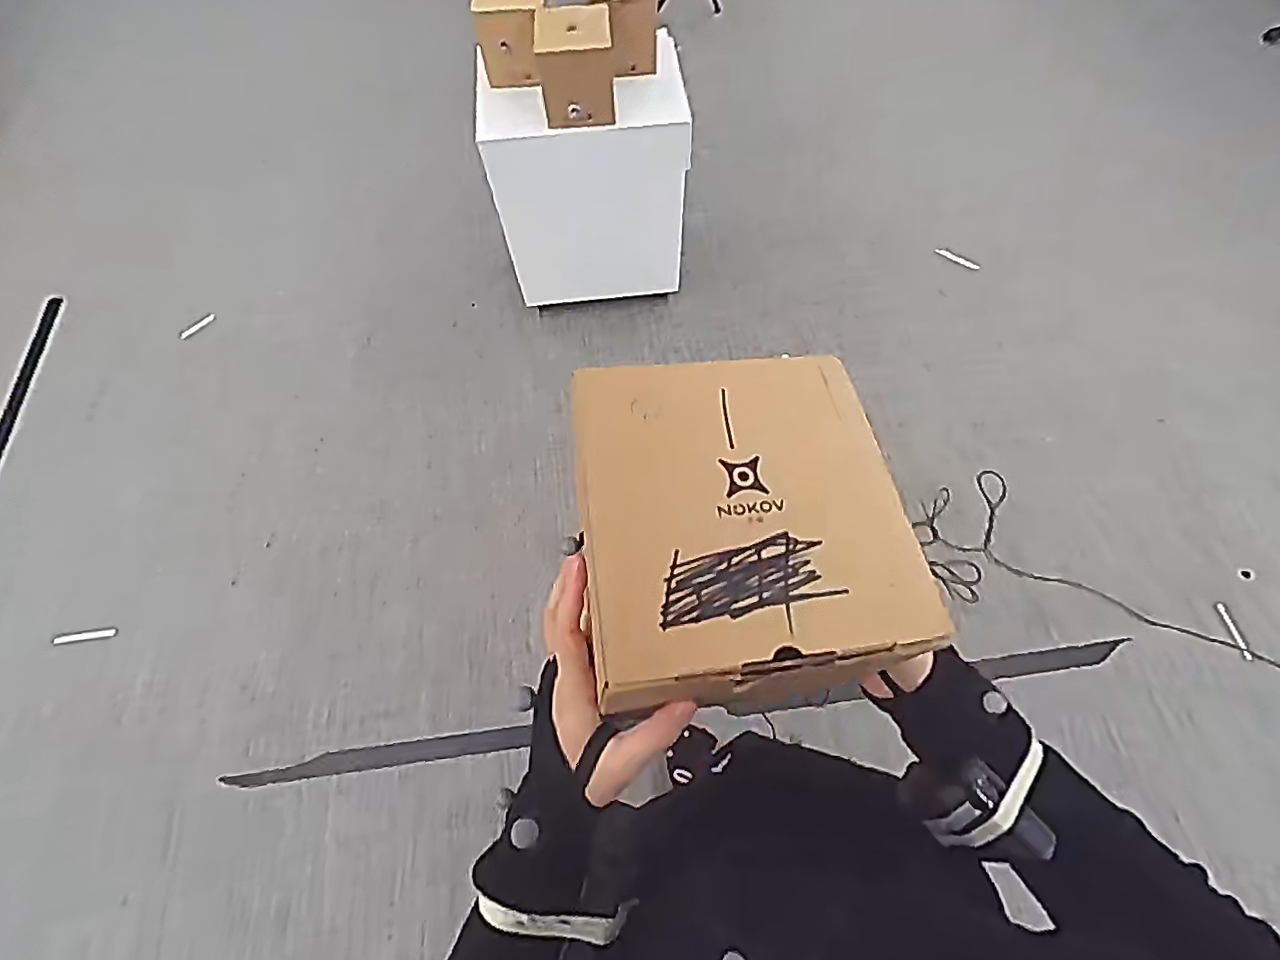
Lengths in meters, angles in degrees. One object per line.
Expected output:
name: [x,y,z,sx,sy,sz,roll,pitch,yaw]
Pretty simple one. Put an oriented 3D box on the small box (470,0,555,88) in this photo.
small box: [-0.303,-1.089,1.317,0.168,0.176,0.179,-4,66,-1]
